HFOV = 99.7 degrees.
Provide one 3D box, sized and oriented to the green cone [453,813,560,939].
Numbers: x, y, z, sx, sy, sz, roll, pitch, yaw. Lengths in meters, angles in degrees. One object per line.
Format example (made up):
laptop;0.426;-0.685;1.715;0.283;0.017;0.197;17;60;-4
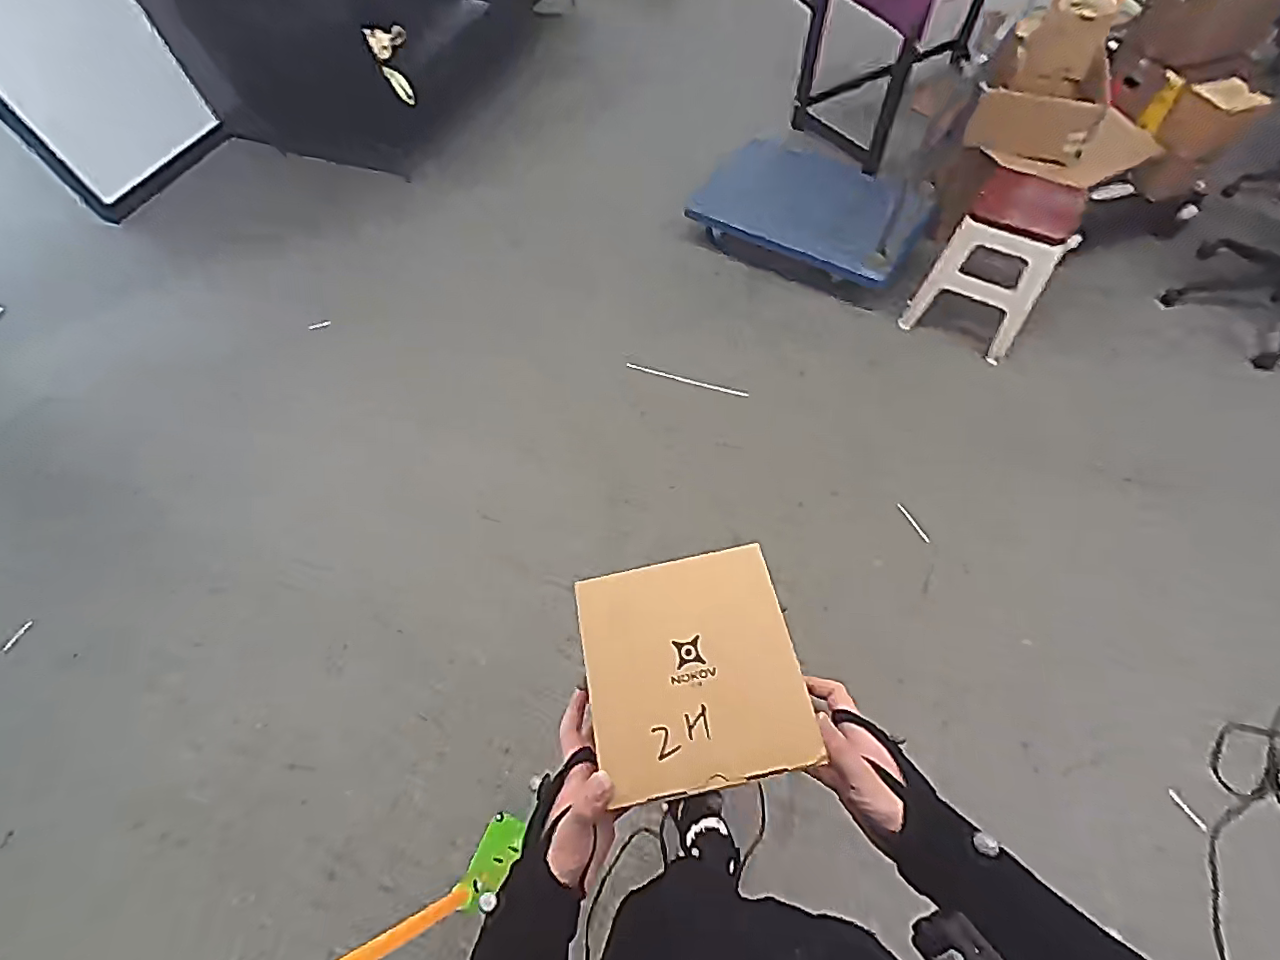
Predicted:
green cone;-0.321;0.856;1.138;0.202;0.368;0.200;20;64;13

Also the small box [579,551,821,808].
small box;0.045;0.189;0.501;0.168;0.176;0.179;-12;61;0
